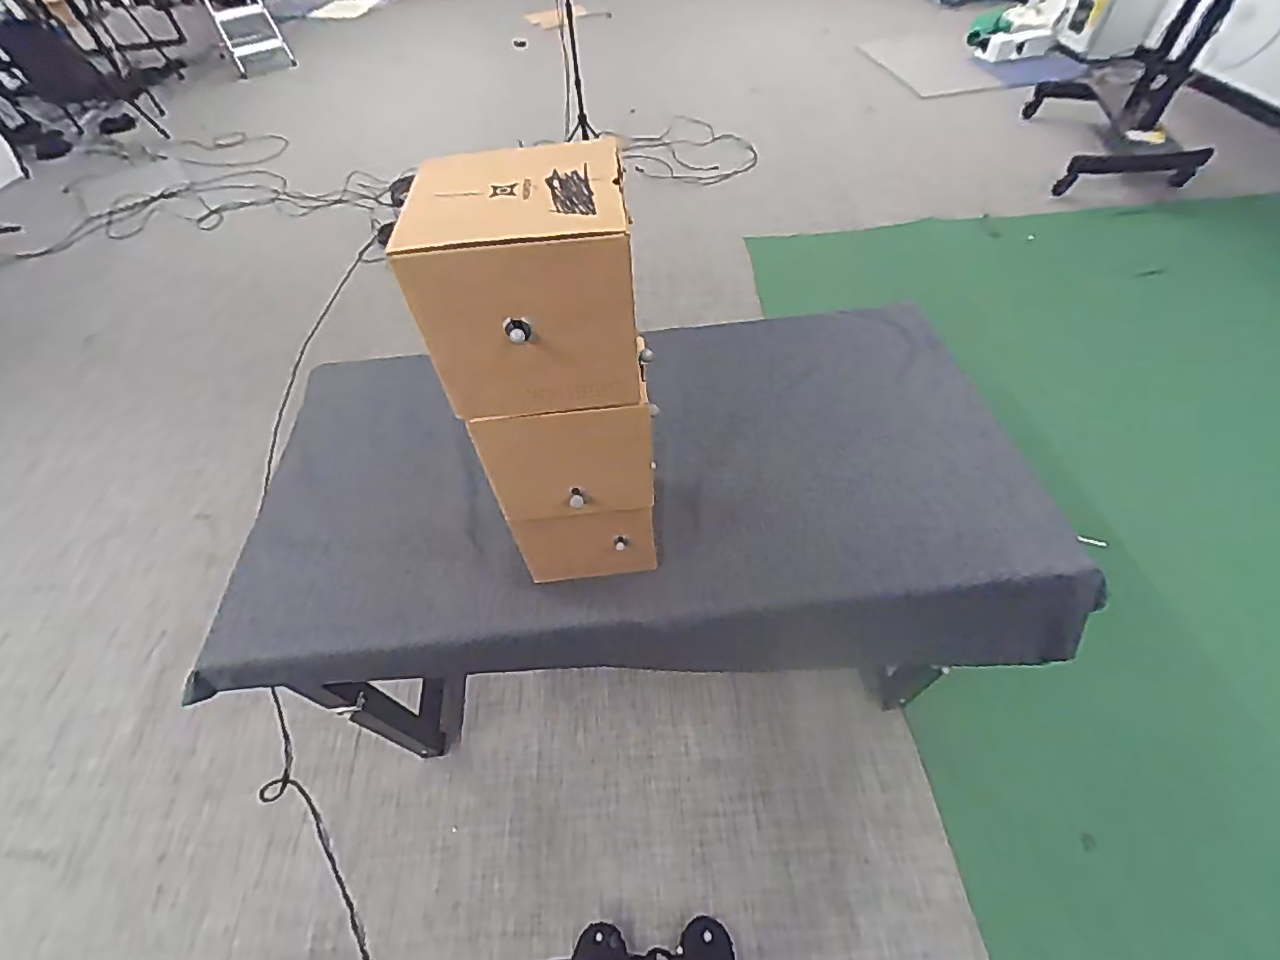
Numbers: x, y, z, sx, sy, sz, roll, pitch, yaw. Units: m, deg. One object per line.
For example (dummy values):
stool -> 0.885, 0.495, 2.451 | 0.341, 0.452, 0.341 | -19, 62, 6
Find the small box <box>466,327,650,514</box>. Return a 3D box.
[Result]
small box -> -0.081, -0.077, 0.622 | 0.179, 0.176, 0.168 | -6, 52, -1

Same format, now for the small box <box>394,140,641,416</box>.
small box -> -0.094, -0.178, 0.492 | 0.179, 0.176, 0.168 | -7, 53, -3

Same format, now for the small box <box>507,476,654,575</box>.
small box -> -0.074, 0.017, 0.756 | 0.179, 0.176, 0.168 | -7, 52, 0
